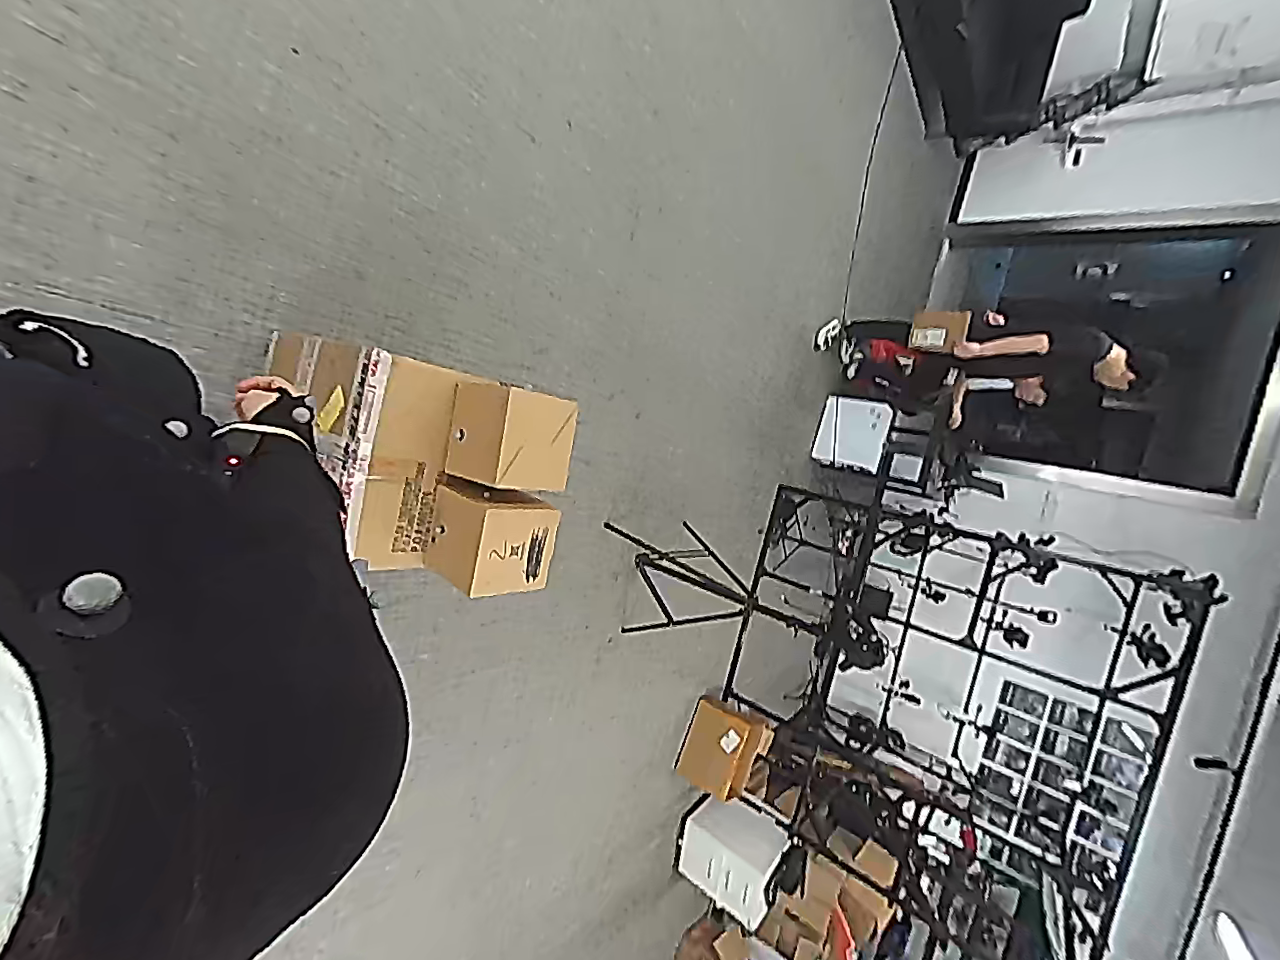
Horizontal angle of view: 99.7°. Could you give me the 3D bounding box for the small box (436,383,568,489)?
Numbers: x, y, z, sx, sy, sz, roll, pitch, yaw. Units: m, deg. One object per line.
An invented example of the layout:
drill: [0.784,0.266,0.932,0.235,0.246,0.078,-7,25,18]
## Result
small box: [-0.260,-0.081,1.030,0.168,0.176,0.179,7,95,-52]
